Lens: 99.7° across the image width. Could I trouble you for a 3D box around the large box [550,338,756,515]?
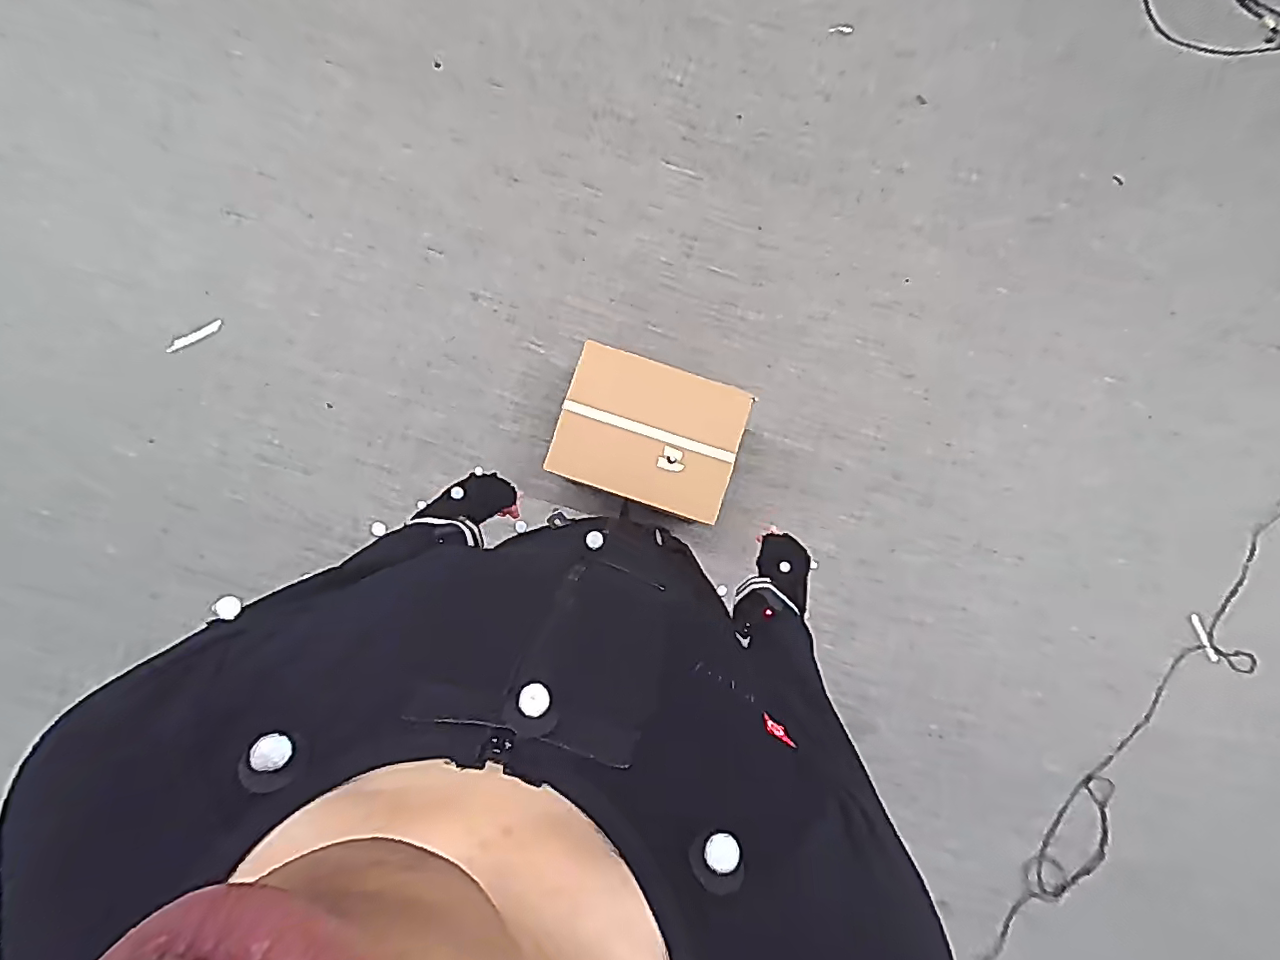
[{"bbox_3d":[0.025,-0.113,1.361,0.408,0.320,0.320,18,88,0],"label":"large box"}]
